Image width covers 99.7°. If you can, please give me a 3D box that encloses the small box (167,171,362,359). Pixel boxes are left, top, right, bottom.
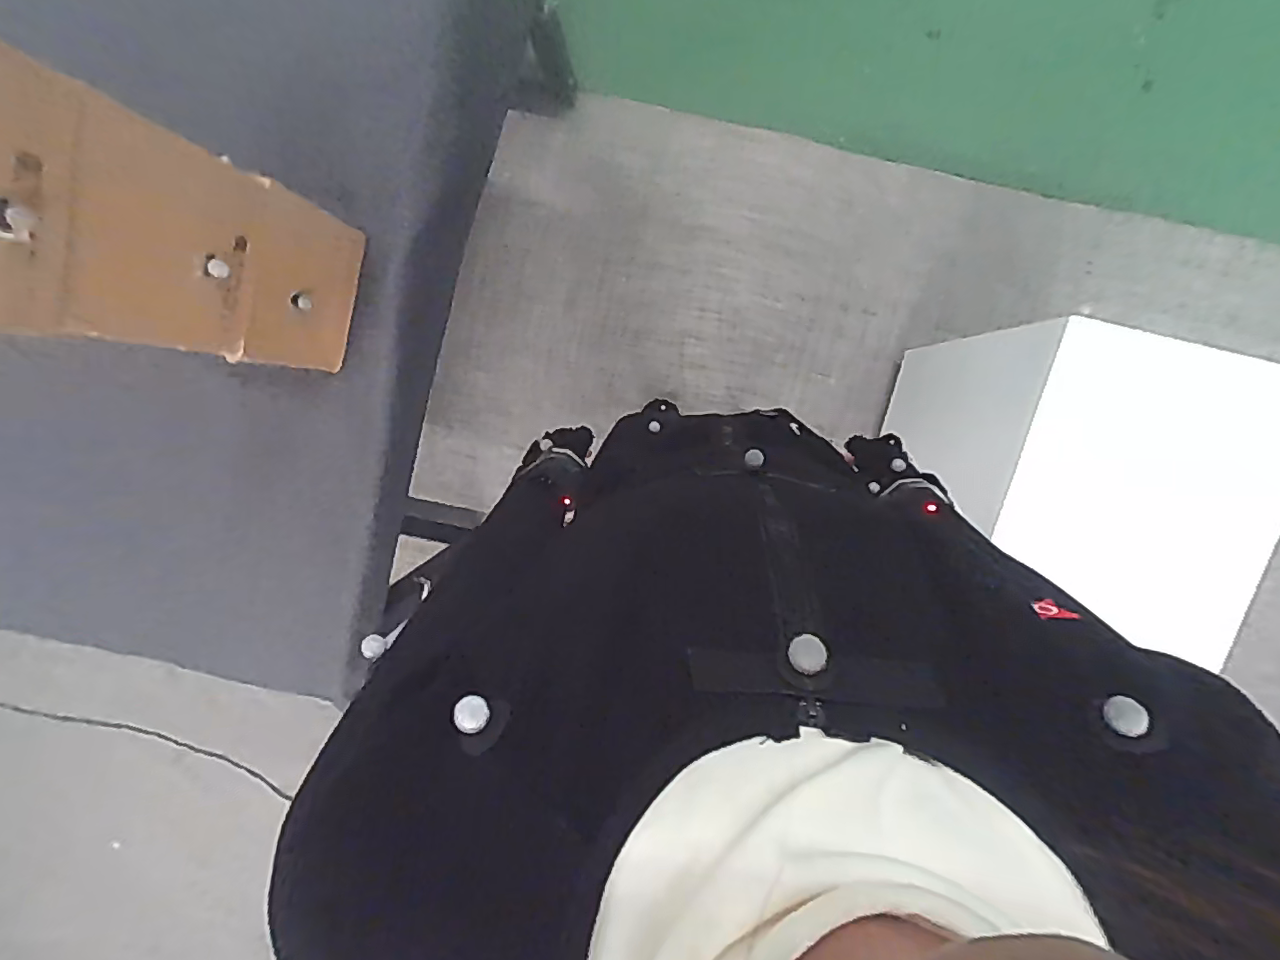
[{"bbox_3d":[-0.444,-0.242,0.607,0.168,0.176,0.179,16,99,1],"label":"small box"}]
